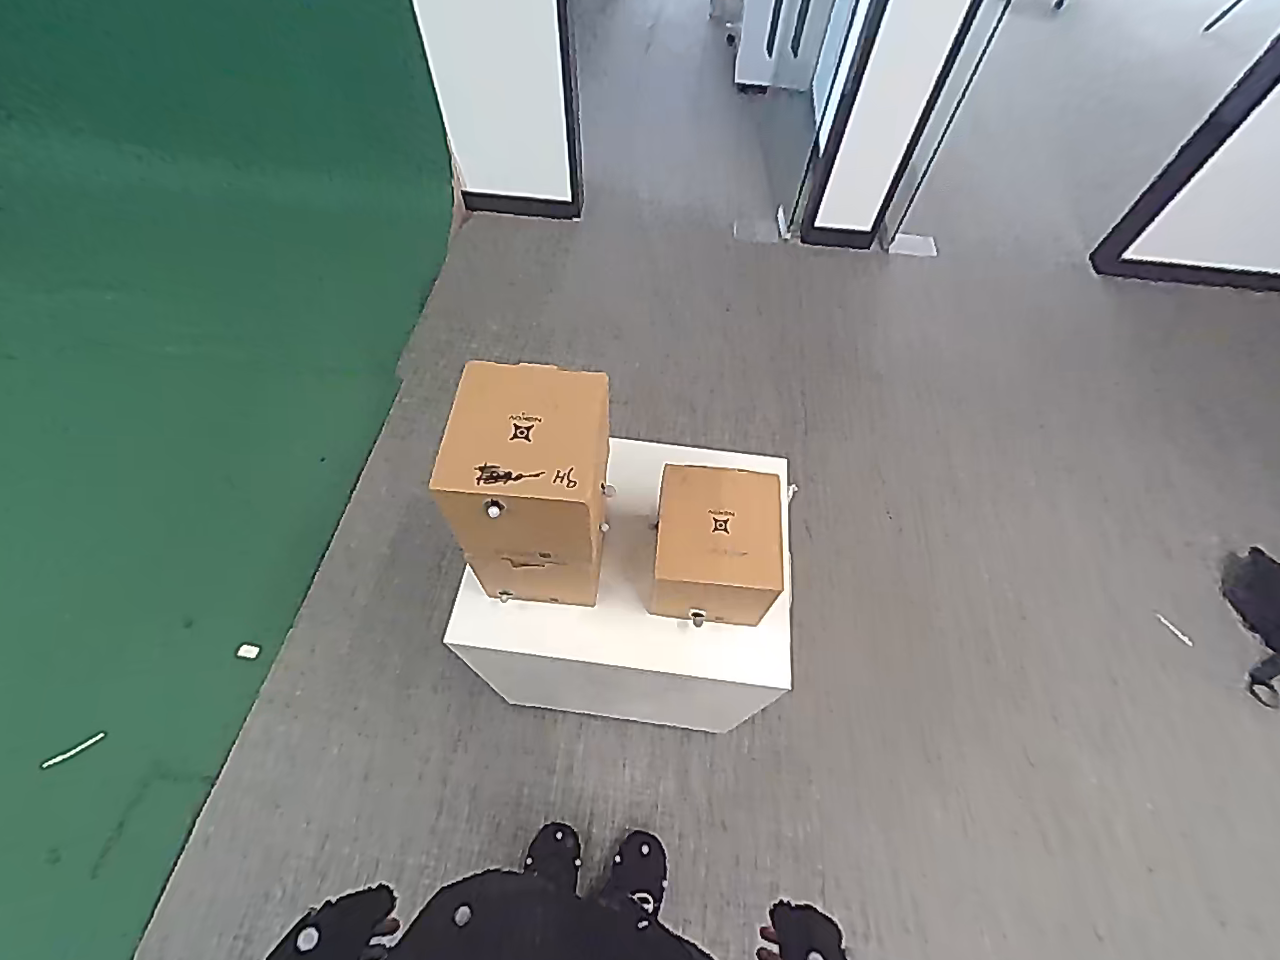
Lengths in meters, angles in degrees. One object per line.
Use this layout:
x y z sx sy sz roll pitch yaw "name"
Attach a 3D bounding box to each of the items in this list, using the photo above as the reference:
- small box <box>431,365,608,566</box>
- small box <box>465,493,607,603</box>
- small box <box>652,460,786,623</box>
-0.130 -0.014 0.660 0.168 0.176 0.179 5 58 1 "small box"
-0.139 0.070 0.798 0.168 0.176 0.179 5 58 1 "small box"
0.105 0.093 0.778 0.168 0.176 0.179 4 61 2 "small box"
